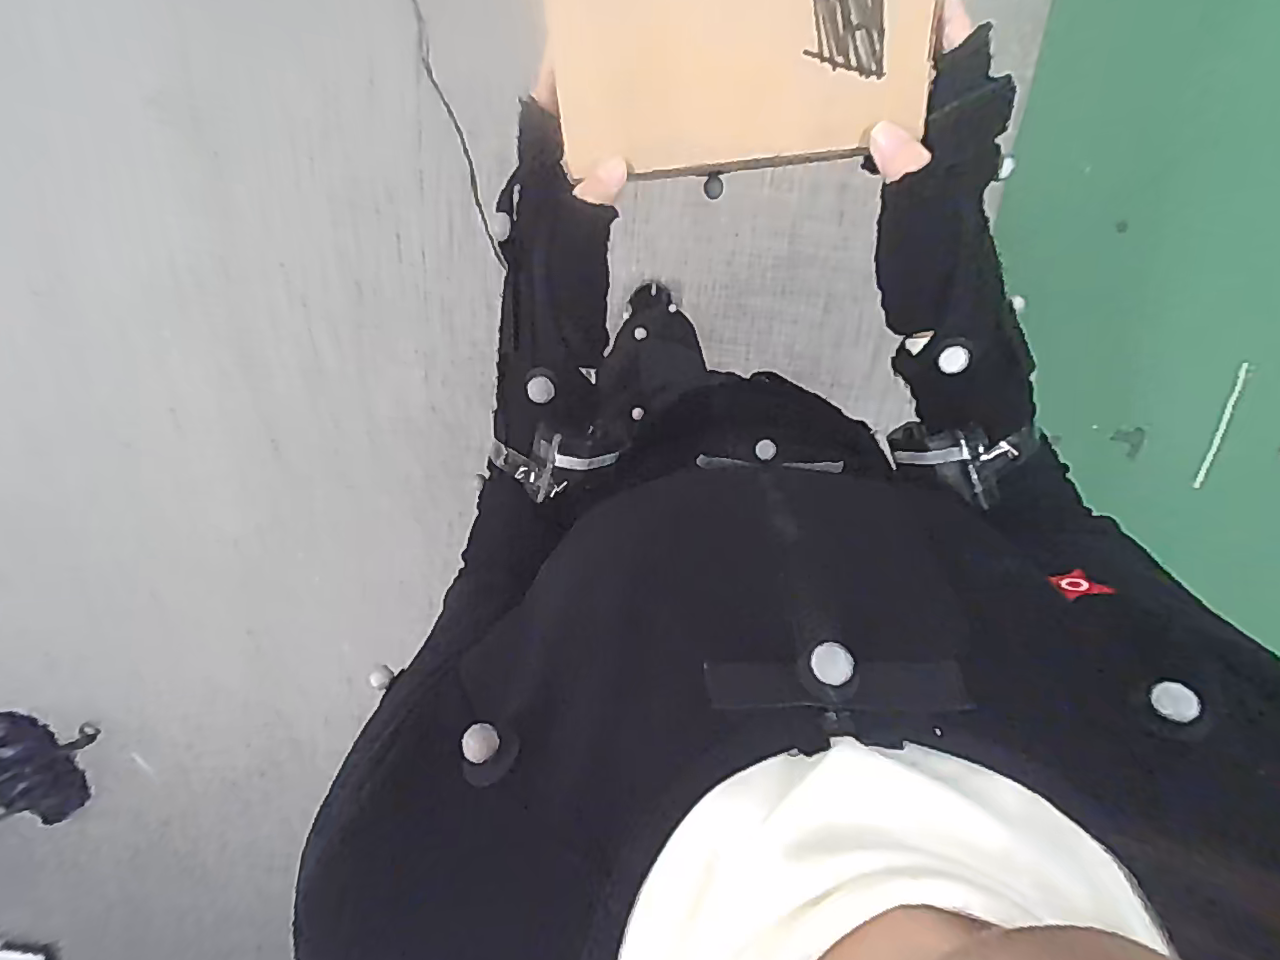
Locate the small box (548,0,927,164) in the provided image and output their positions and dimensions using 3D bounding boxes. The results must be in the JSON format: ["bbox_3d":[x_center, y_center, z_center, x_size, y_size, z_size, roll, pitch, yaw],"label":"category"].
[{"bbox_3d":[0.044,-0.282,0.305,0.179,0.176,0.168,-4,118,5],"label":"small box"}]
